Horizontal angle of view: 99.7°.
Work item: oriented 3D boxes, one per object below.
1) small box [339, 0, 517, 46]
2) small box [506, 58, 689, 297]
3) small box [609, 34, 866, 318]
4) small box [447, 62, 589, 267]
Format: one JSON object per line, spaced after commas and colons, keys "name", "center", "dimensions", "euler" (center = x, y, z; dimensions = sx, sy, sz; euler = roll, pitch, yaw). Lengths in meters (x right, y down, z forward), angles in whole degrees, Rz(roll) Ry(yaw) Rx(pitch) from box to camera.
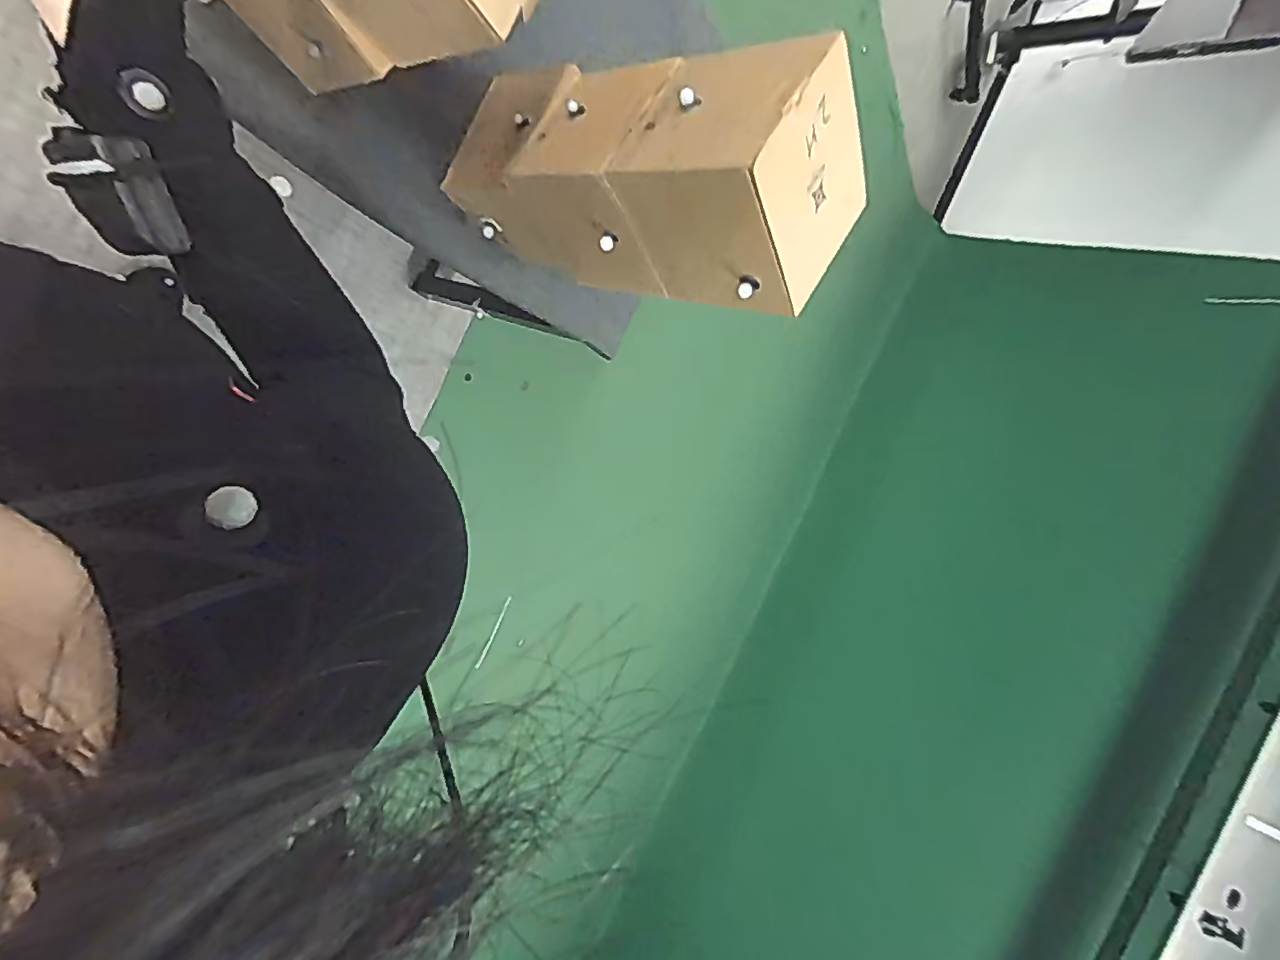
{"name": "small box", "center": [-0.175, -0.456, 0.386], "dimensions": [0.179, 0.176, 0.168], "euler": [27, 88, -54]}
{"name": "small box", "center": [-0.020, -0.351, 0.644], "dimensions": [0.168, 0.176, 0.179], "euler": [-58, 142, -10]}
{"name": "small box", "center": [0.103, -0.297, 0.548], "dimensions": [0.168, 0.176, 0.179], "euler": [-57, 142, -12]}
{"name": "small box", "center": [-0.132, -0.419, 0.741], "dimensions": [0.168, 0.176, 0.179], "euler": [27, 89, -53]}
